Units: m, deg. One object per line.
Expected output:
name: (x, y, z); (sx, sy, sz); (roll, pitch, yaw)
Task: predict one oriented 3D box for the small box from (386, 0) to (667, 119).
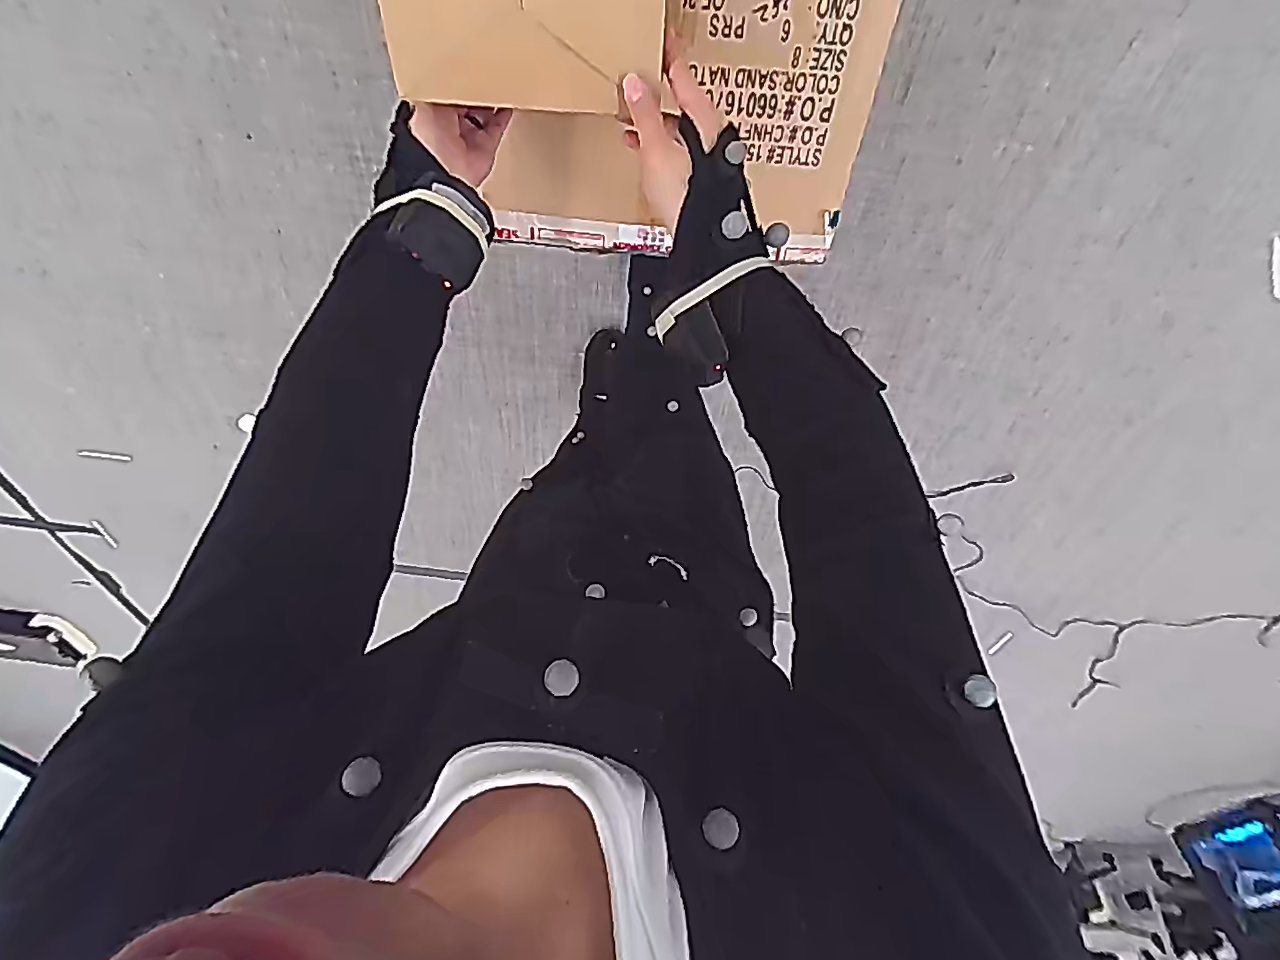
small box: (-0.067, -0.366, 0.372); (0.179, 0.176, 0.168); (3, 135, -2)
